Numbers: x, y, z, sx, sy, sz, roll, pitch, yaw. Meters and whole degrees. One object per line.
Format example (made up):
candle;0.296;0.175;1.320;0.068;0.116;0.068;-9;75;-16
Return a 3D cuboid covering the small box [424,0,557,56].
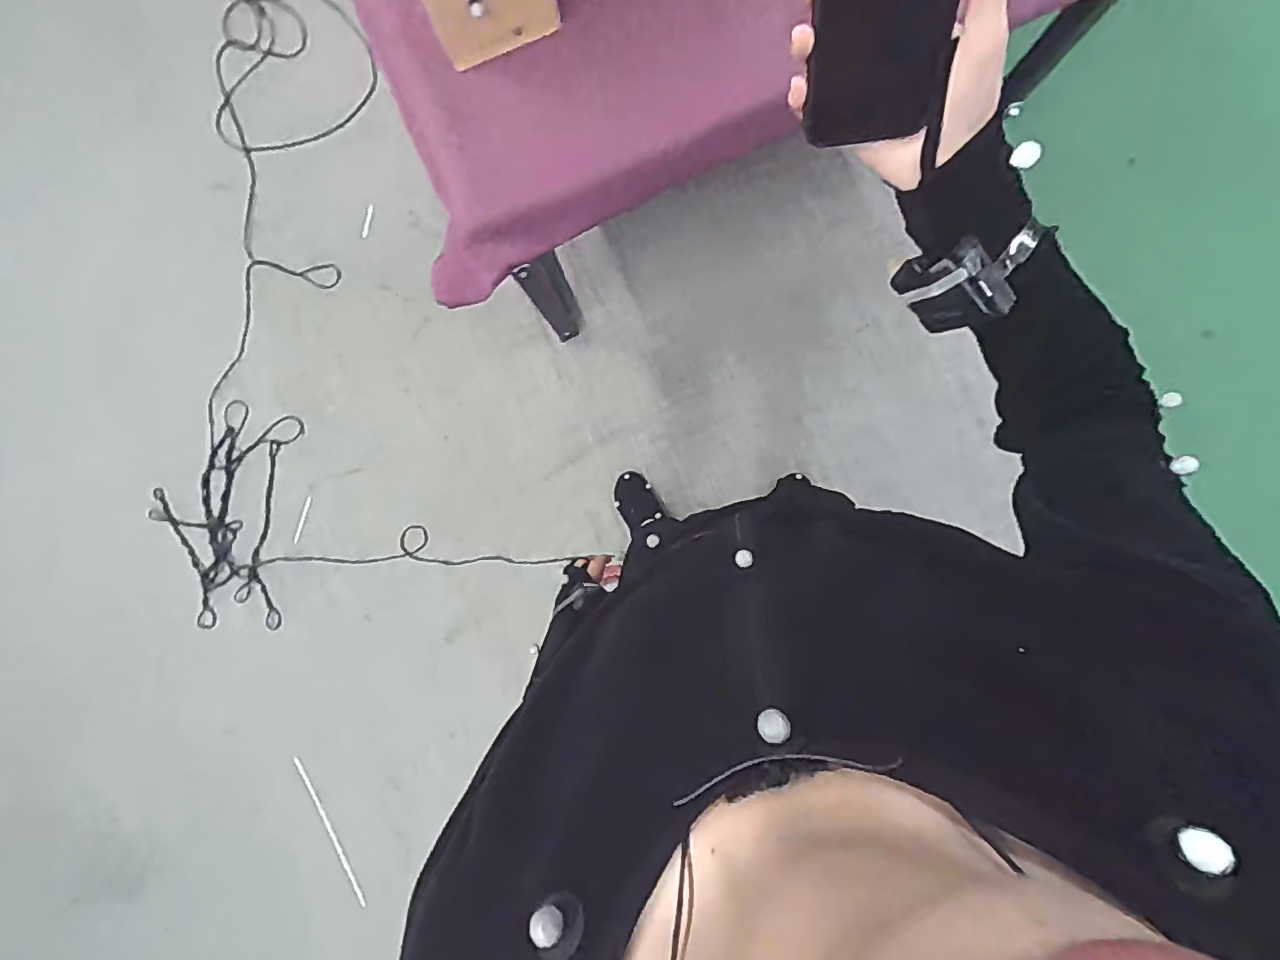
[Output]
small box;-0.224;-0.713;0.714;0.168;0.176;0.179;-21;88;4
